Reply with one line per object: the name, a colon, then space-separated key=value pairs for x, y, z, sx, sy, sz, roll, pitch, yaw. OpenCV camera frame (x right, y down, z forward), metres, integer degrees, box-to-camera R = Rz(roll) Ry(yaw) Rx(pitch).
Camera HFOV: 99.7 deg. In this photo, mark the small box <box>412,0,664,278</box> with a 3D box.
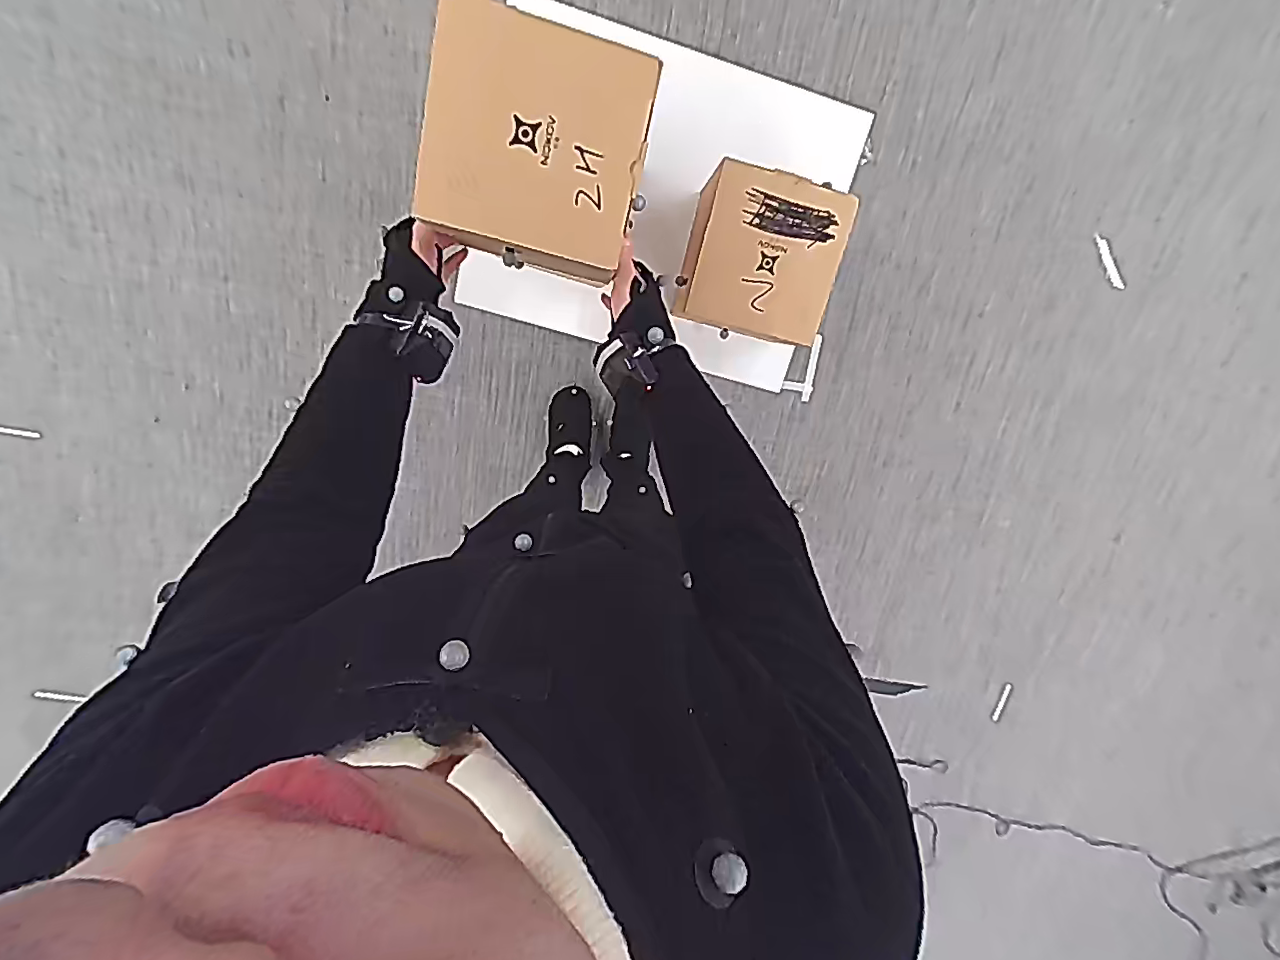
small box: x=-0.091 y=-0.298 z=0.511 sx=0.179 sy=0.176 sz=0.168 roll=12 pitch=105 yaw=-9
